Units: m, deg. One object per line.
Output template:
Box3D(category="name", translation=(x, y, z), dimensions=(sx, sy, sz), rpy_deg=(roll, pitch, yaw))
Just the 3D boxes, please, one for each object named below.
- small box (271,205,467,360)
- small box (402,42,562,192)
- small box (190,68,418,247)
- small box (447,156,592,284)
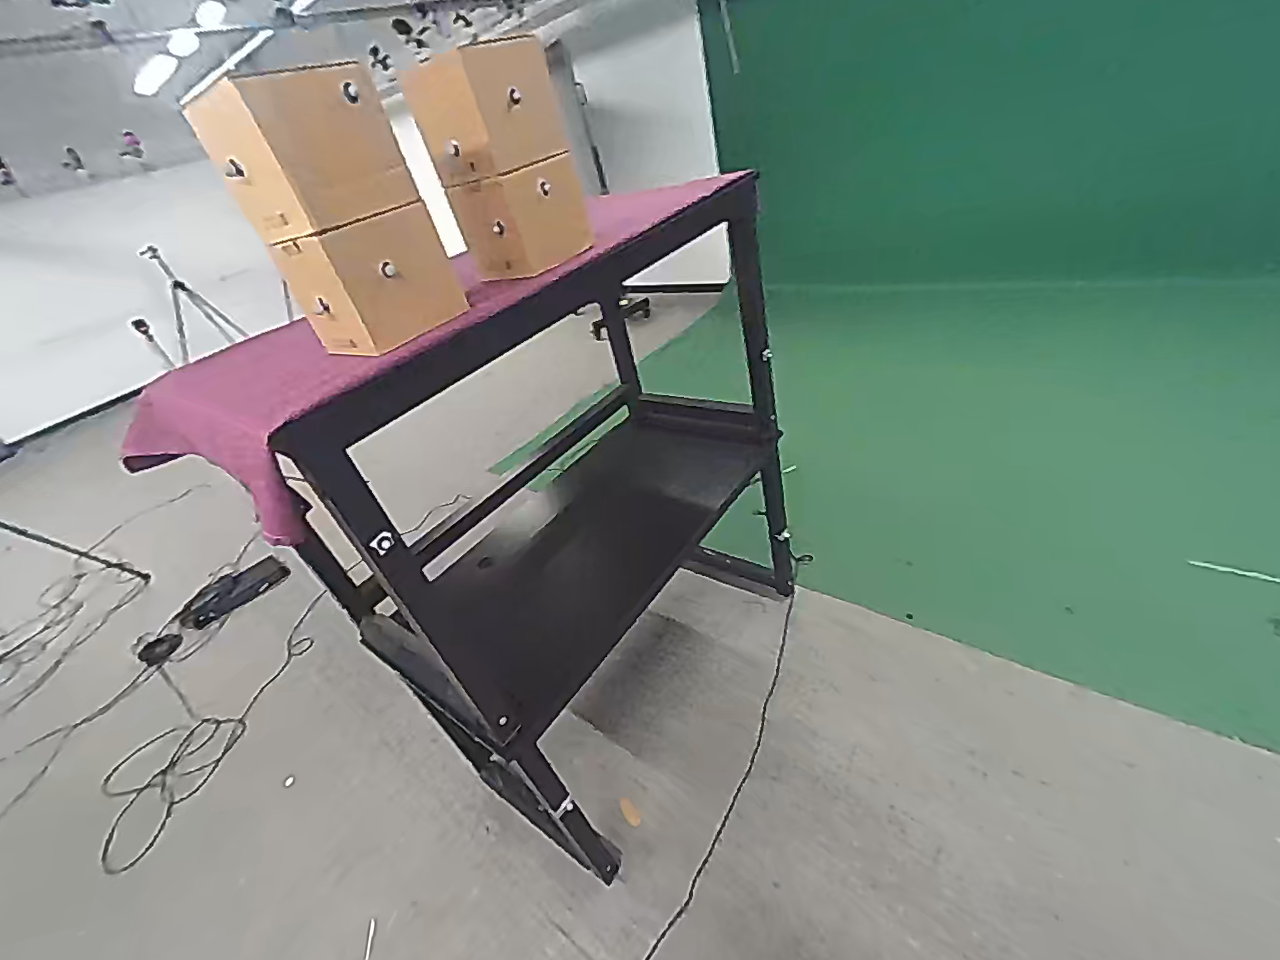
Box3D(category="small box", translation=(-0.400, -0.294, 0.822), dimensions=(0.168, 0.176, 0.179), rpy_deg=(12, 44, 36))
Box3D(category="small box", translation=(-0.253, -0.604, 0.912), dimensions=(0.168, 0.176, 0.179), rpy_deg=(13, 45, 36))
Box3D(category="small box", translation=(-0.443, -0.424, 0.734), dimensions=(0.168, 0.176, 0.179), rpy_deg=(11, 41, 36))
Box3D(category="small box", translation=(-0.213, -0.473, 1.002), dimensions=(0.168, 0.176, 0.179), rpy_deg=(13, 44, 37))
